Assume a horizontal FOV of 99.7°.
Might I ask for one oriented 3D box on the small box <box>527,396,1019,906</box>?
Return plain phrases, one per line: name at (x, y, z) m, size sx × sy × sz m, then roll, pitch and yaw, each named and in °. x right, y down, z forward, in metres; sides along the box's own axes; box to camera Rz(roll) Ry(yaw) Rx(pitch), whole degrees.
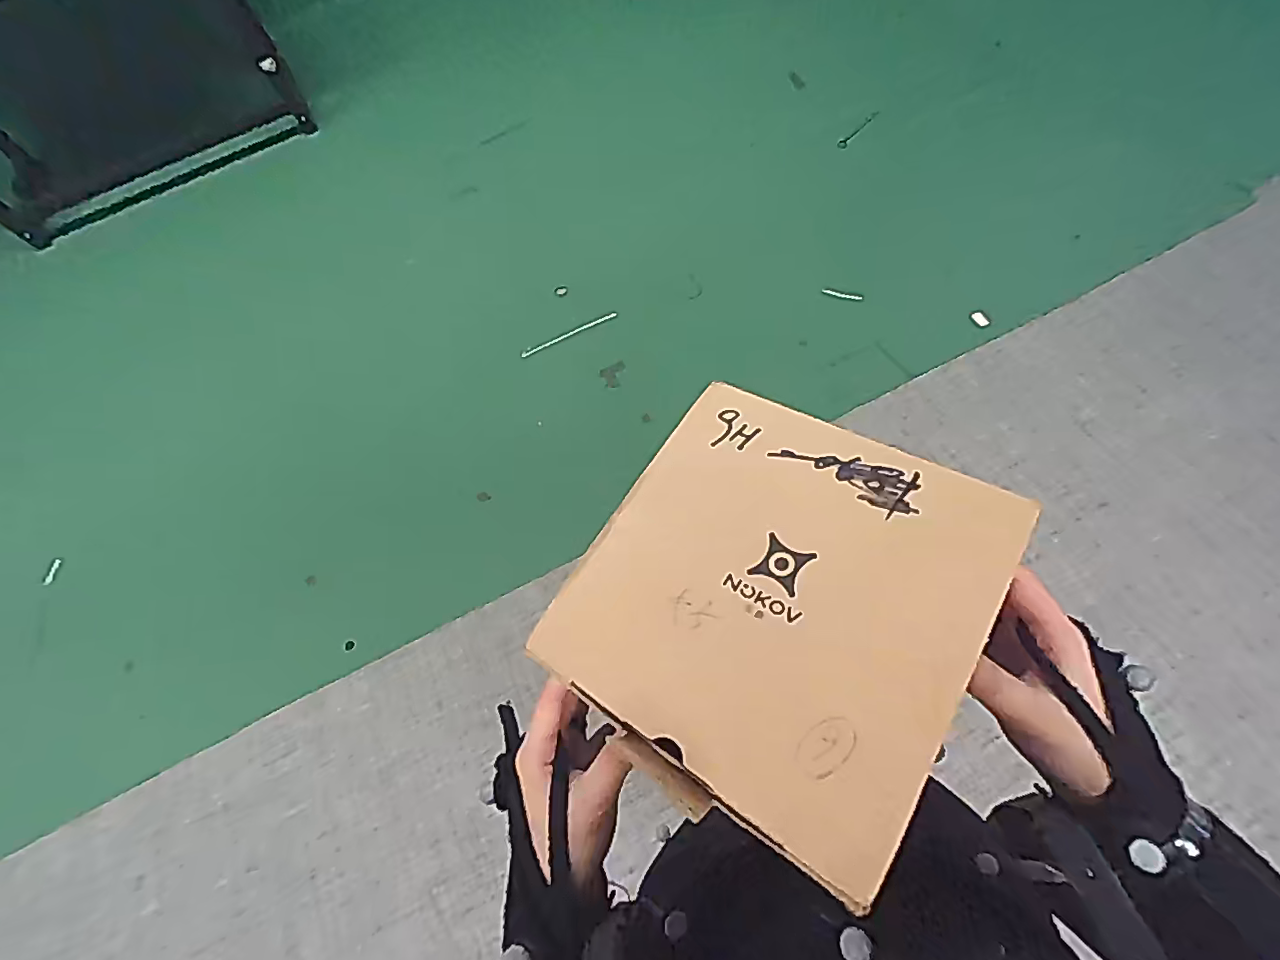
small box at (0.074, 0.089, 0.316) m, size 0.168 × 0.176 × 0.179 m, roll 27°, pitch 71°, yaw 26°
